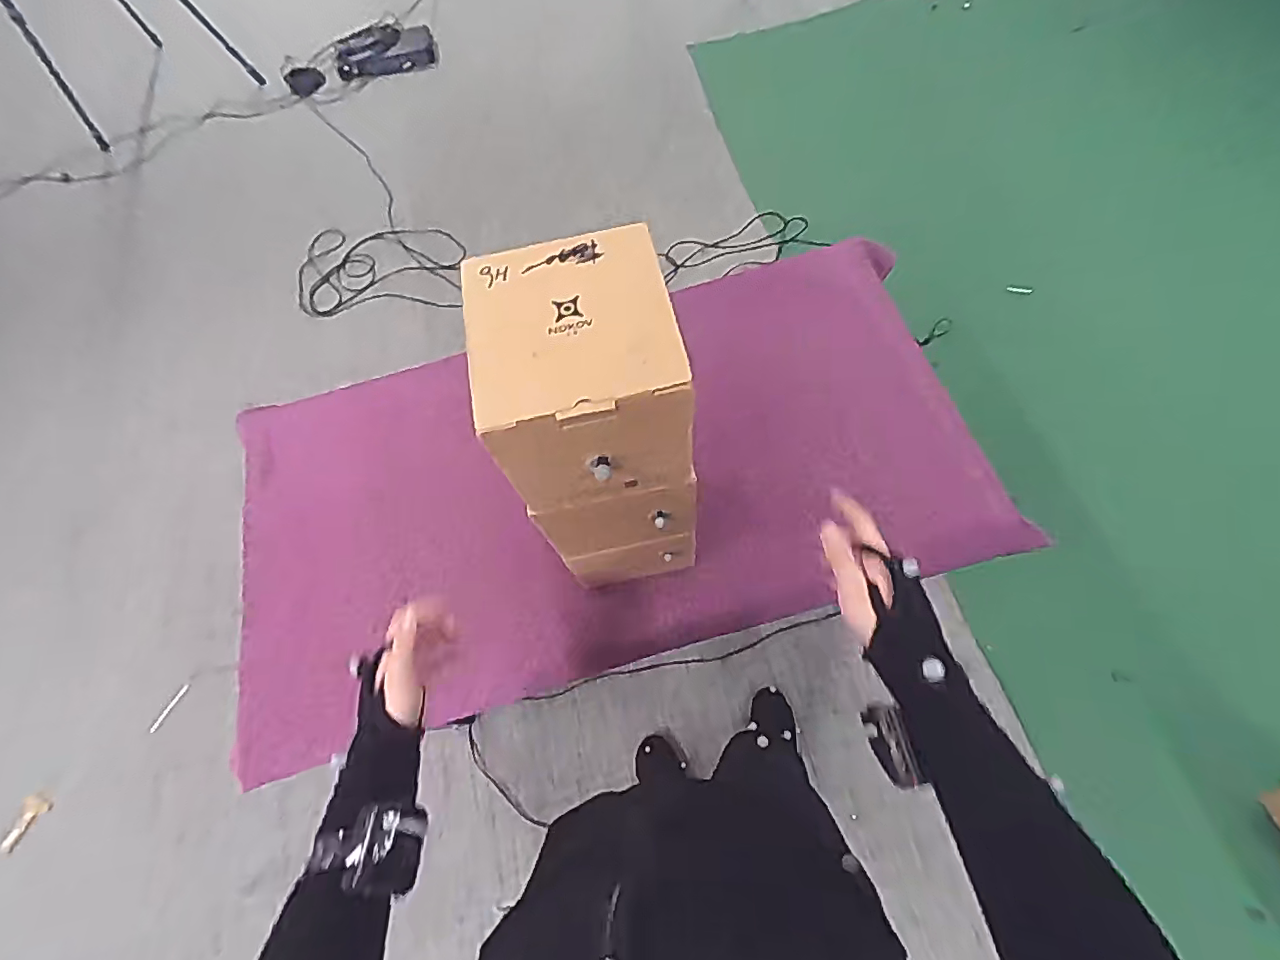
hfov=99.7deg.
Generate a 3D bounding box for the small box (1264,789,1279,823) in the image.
[{"bbox_3d":[1.515,0.744,1.132,0.168,0.176,0.179,-19,67,-3],"label":"small box"}]

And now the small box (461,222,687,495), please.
[{"bbox_3d":[-0.052,-0.097,0.504,0.168,0.176,0.179,-12,66,0],"label":"small box"}]

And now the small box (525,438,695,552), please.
[{"bbox_3d":[-0.037,-0.025,0.650,0.179,0.176,0.168,-12,66,0],"label":"small box"}]
